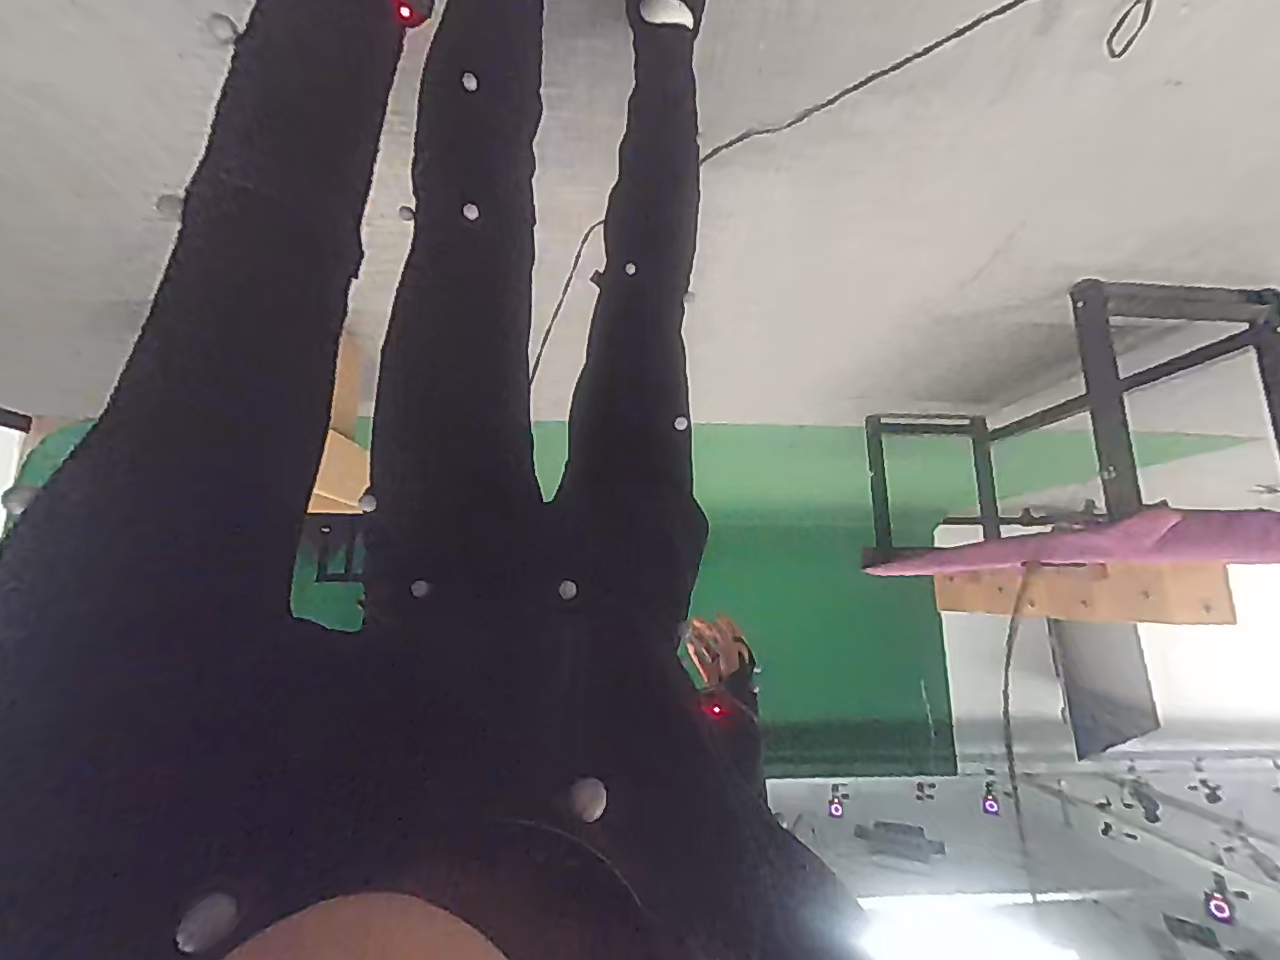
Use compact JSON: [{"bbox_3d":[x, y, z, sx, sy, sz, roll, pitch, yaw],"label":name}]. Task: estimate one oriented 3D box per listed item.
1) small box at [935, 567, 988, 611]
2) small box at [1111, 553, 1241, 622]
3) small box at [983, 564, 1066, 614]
[{"bbox_3d":[1.331,0.440,2.184,0.179,0.176,0.168,2,167,-10],"label":"small box"},{"bbox_3d":[1.416,0.288,1.443,0.179,0.176,0.168,0,168,-2],"label":"small box"},{"bbox_3d":[1.366,0.389,1.931,0.179,0.176,0.168,2,169,-8],"label":"small box"}]
